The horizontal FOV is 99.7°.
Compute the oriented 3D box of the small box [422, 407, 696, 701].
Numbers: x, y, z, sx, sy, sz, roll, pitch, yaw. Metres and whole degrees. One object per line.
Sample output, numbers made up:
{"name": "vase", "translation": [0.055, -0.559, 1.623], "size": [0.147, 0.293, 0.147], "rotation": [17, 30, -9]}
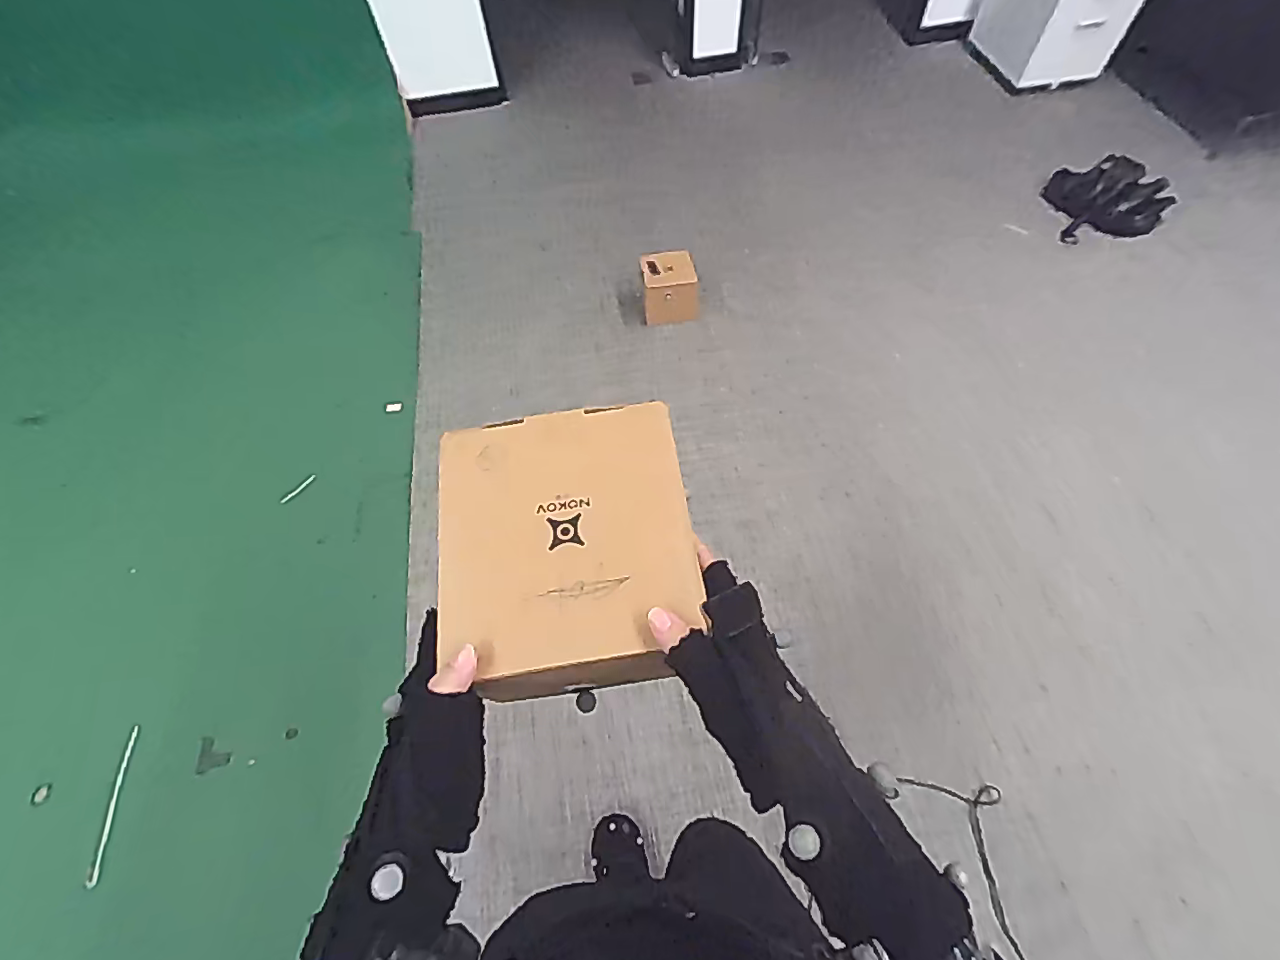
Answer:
{"name": "small box", "translation": [-0.055, 0.067, 0.427], "size": [0.168, 0.176, 0.179], "rotation": [-8, 65, -1]}

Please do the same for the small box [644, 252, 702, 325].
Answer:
{"name": "small box", "translation": [0.114, -0.662, 1.886], "size": [0.179, 0.176, 0.168], "rotation": [-9, 60, -2]}
